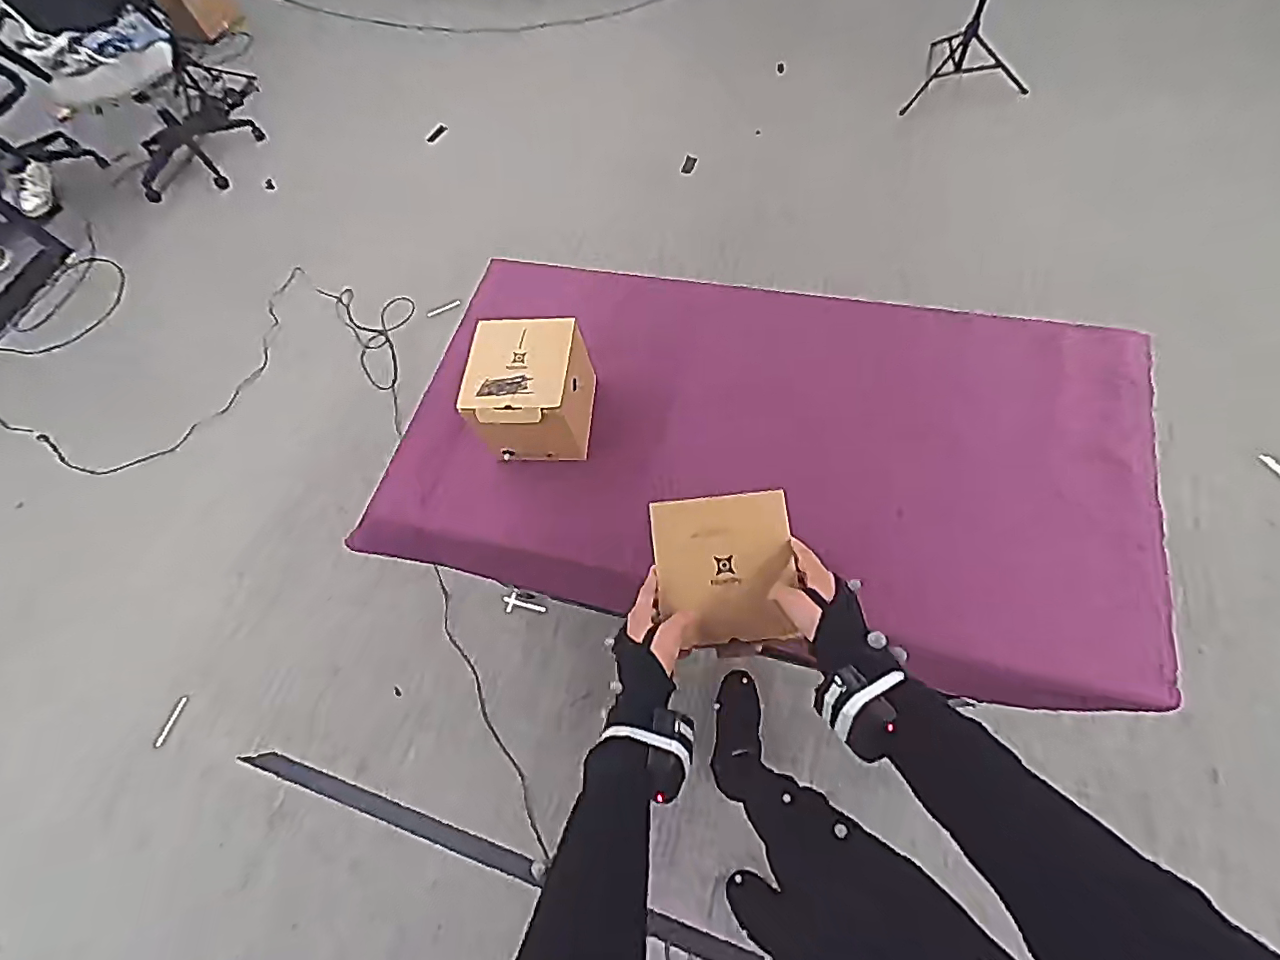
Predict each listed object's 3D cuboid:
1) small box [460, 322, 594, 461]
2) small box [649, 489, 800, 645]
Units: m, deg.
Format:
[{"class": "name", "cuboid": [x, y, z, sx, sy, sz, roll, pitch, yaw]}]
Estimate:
[{"class": "small box", "cuboid": [-0.178, -0.142, 0.915, 0.168, 0.176, 0.179, 1, 65, 8]}, {"class": "small box", "cuboid": [0.103, 0.118, 0.720, 0.168, 0.176, 0.179, -5, 76, 2]}]
